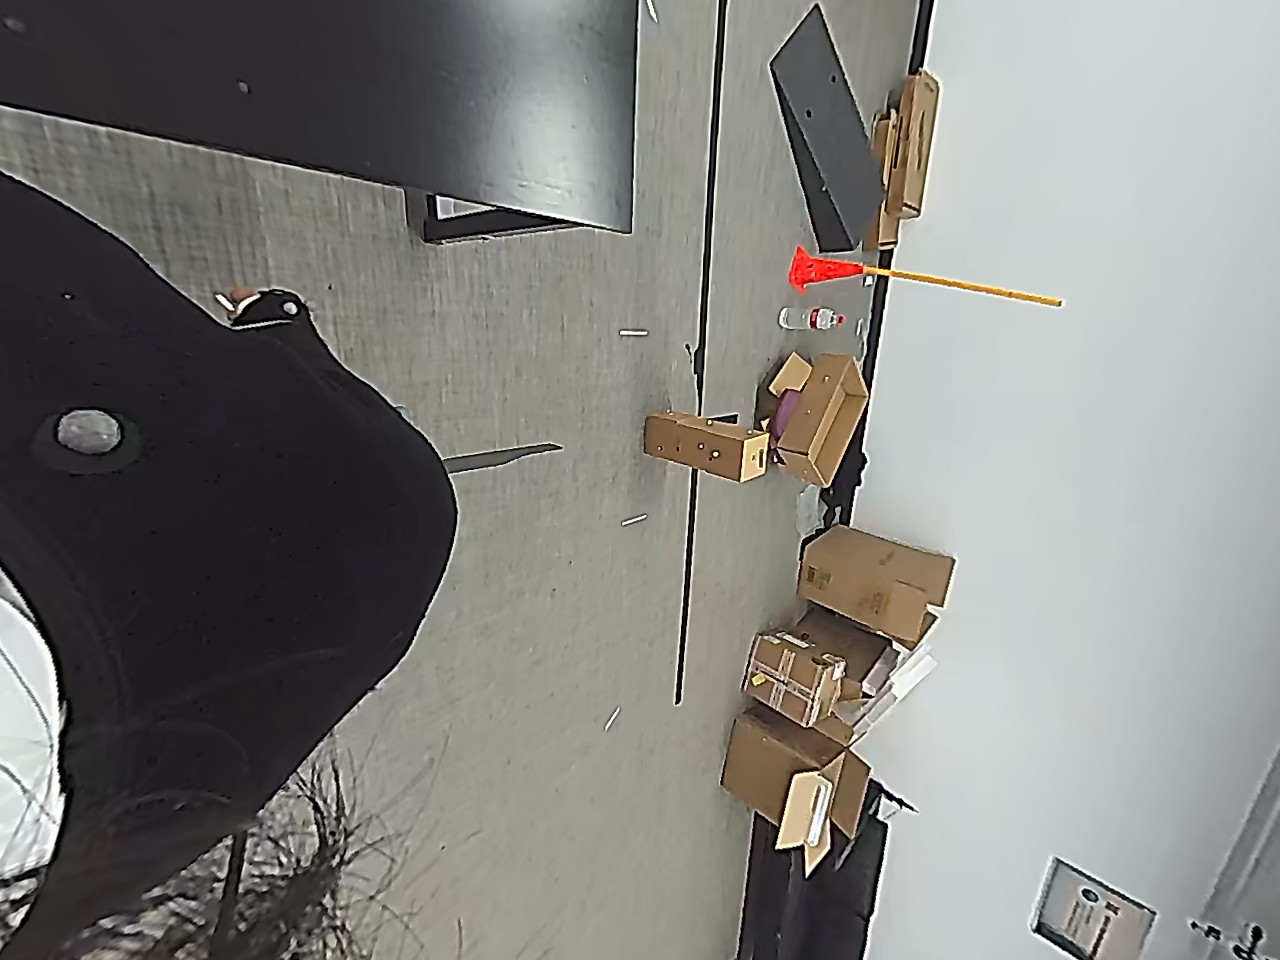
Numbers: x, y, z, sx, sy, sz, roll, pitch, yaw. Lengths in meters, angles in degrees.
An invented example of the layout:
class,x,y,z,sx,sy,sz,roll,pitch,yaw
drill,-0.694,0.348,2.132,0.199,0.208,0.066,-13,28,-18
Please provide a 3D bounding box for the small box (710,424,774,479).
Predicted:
class,x,y,z,sx,sy,sz,roll,pitch,yaw
small box,0.393,-0.116,2.085,0.179,0.176,0.168,-17,116,-43

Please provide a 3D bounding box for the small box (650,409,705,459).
class,x,y,z,sx,sy,sz,roll,pitch,yaw
small box,0.156,-0.199,2.299,0.168,0.176,0.179,-16,114,-45

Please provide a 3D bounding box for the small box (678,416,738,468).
class,x,y,z,sx,sy,sz,roll,pitch,yaw
small box,0.273,-0.159,2.191,0.179,0.176,0.168,-18,117,-44
